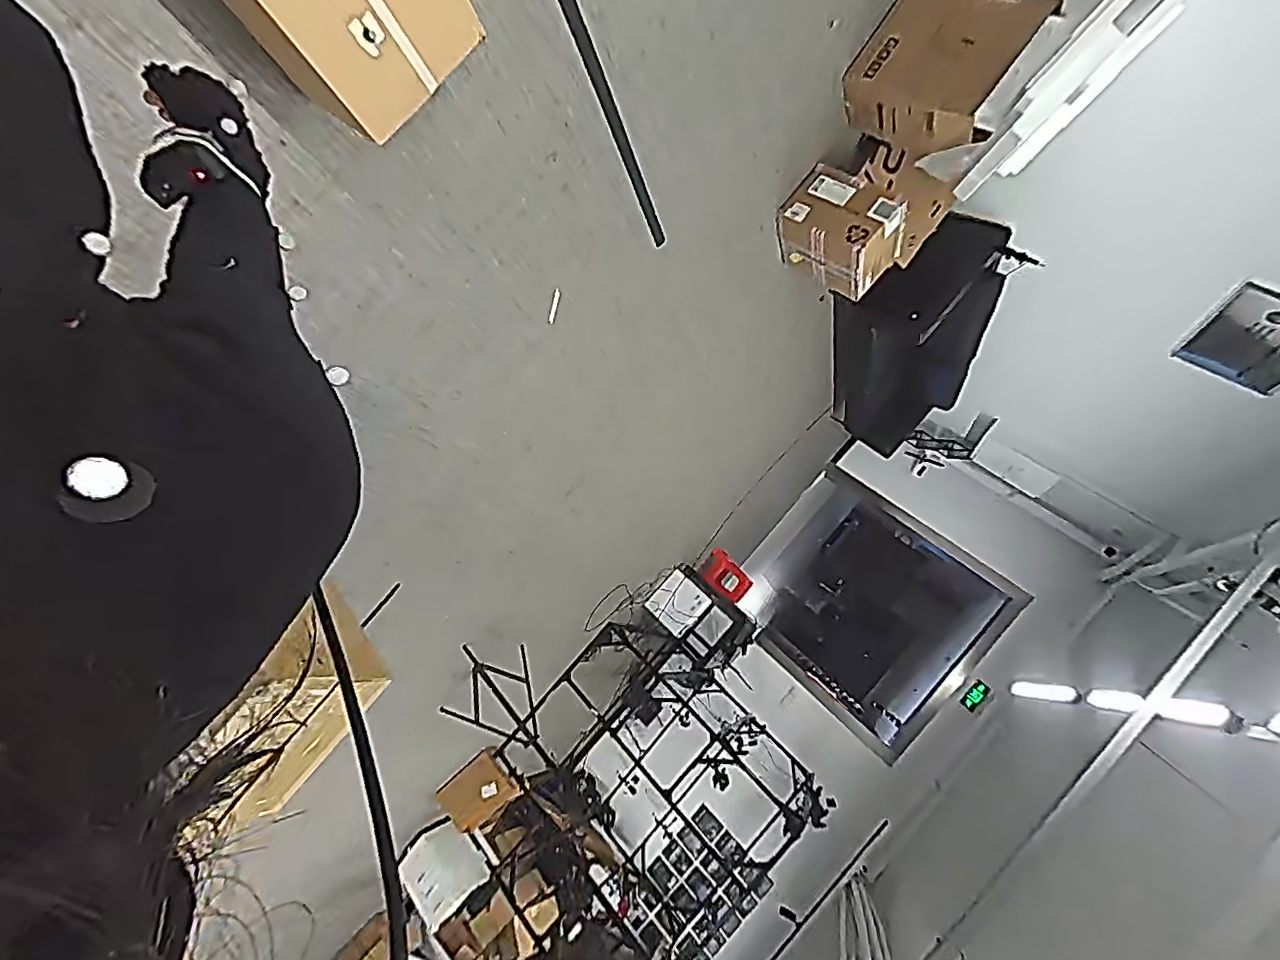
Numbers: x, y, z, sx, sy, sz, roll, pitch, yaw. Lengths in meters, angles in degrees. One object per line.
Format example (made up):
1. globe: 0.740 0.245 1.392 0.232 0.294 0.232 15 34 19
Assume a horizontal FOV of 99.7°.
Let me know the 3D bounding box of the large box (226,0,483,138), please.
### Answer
1. large box: -0.565 -0.915 0.928 0.320 0.320 0.408 -47 156 -3
